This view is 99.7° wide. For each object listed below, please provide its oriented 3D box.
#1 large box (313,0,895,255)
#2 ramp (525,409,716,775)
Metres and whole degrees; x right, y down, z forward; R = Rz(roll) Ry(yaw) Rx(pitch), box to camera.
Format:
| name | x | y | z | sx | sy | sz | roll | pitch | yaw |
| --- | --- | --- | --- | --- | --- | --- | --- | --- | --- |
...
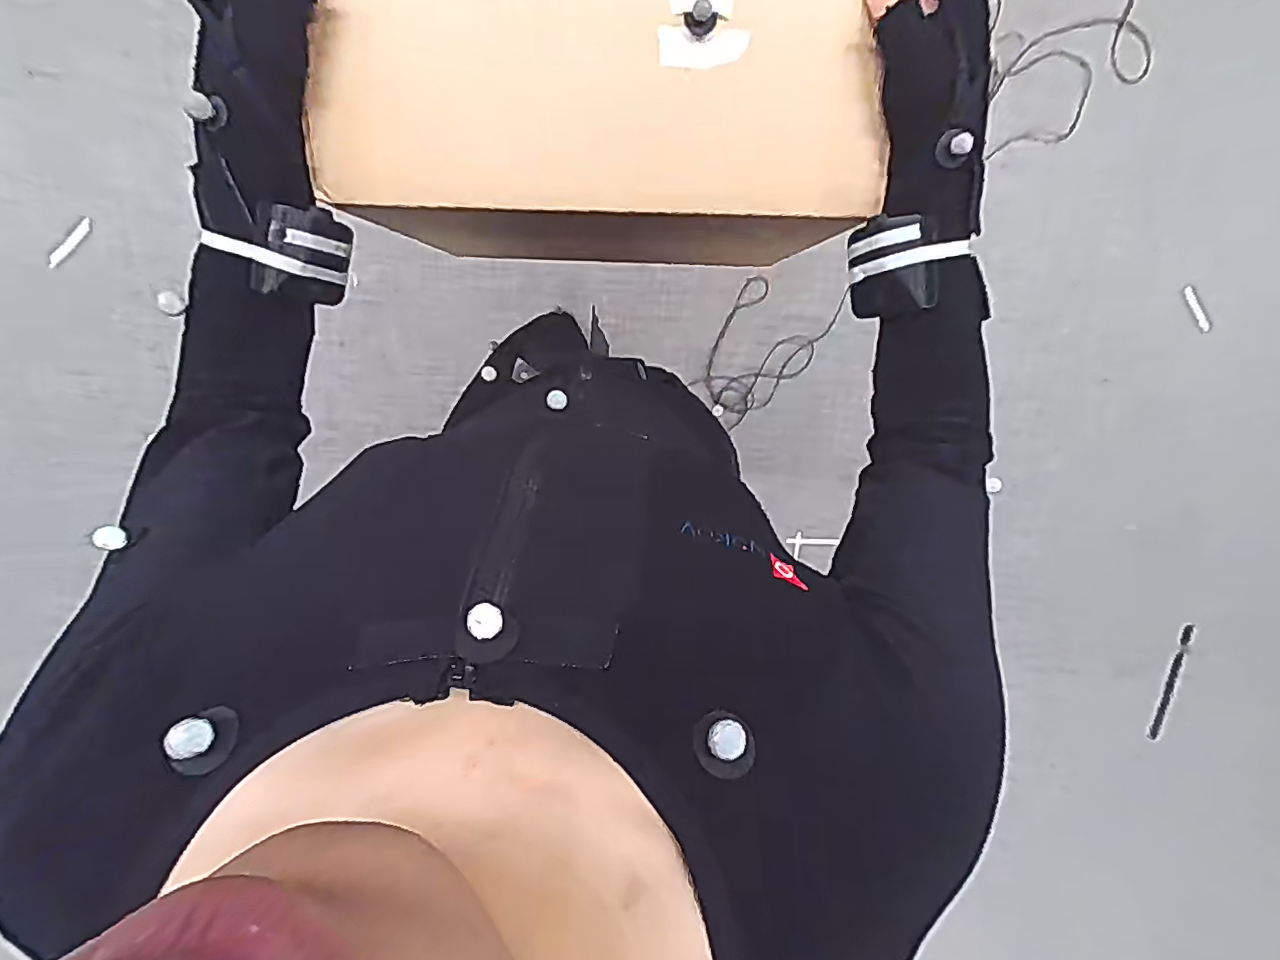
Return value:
| name | x | y | z | sx | sy | sz | roll | pitch | yaw |
| --- | --- | --- | --- | --- | --- | --- | --- | --- | --- |
| large box | -0.027 | -0.396 | 0.503 | 0.408 | 0.320 | 0.320 | 0 | 106 | -2 |
| ramp | -0.058 | 0.313 | 1.486 | 0.509 | 0.206 | 0.991 | 1 | 102 | -1 |
